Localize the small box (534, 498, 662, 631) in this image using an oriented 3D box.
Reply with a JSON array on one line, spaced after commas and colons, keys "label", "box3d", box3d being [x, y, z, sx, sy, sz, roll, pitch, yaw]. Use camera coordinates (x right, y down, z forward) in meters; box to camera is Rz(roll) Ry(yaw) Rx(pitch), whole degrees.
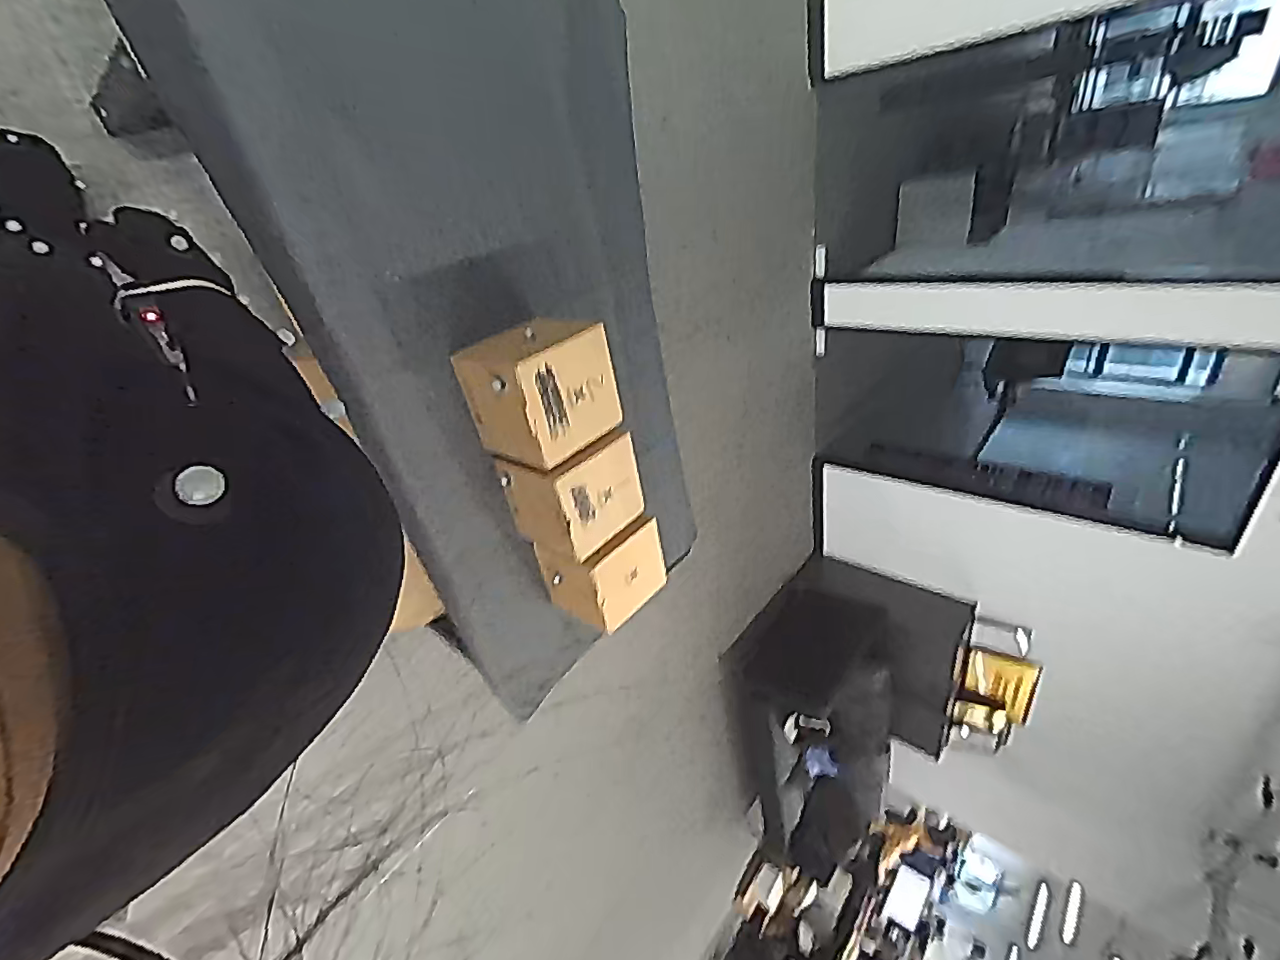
[{"label": "small box", "box3d": [-0.081, 0.158, 1.080, 0.179, 0.176, 0.168, -36, 129, -36]}]
